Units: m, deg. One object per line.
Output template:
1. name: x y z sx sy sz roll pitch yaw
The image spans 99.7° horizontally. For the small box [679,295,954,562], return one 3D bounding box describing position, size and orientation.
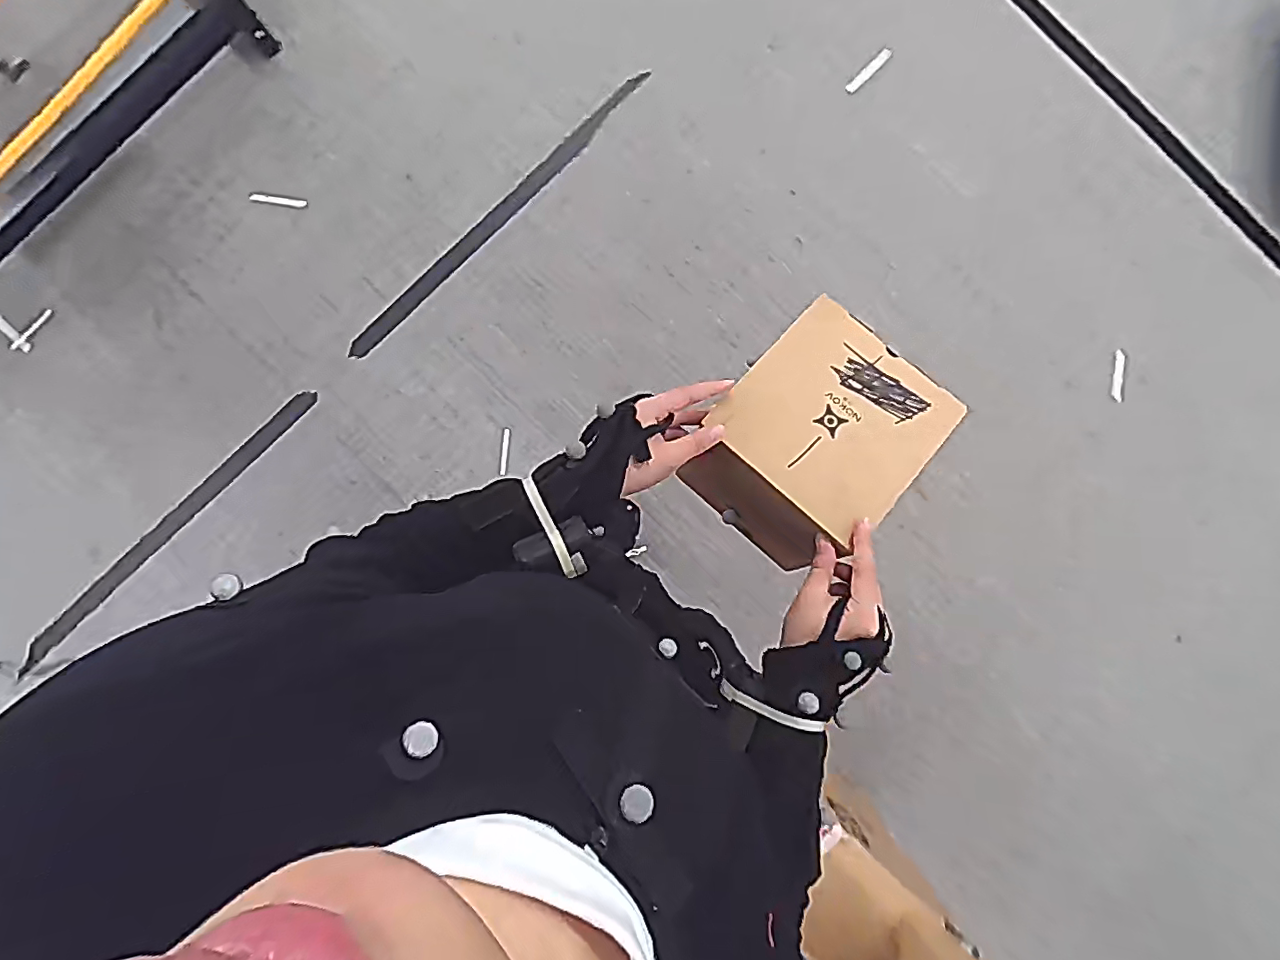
1. small box: 0.157 -0.038 0.543 0.168 0.176 0.179 41 77 7
